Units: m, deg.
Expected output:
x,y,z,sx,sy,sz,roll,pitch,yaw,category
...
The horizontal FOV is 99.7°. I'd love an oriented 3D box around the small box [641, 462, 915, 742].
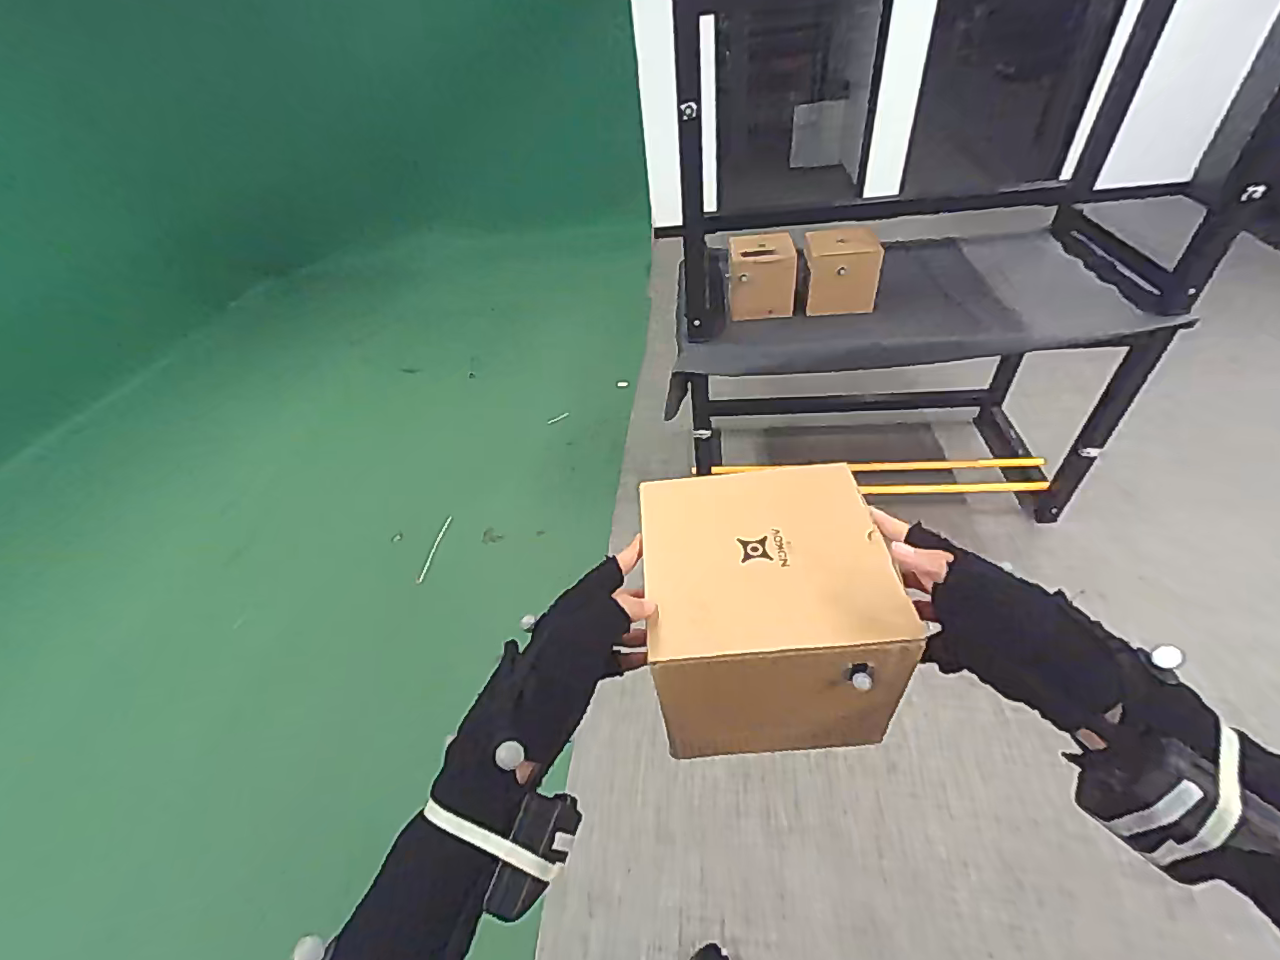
x,y,z,sx,sy,sz,roll,pitch,yaw,category
0.098,0.107,0.460,0.179,0.176,0.168,-5,43,2,small box
